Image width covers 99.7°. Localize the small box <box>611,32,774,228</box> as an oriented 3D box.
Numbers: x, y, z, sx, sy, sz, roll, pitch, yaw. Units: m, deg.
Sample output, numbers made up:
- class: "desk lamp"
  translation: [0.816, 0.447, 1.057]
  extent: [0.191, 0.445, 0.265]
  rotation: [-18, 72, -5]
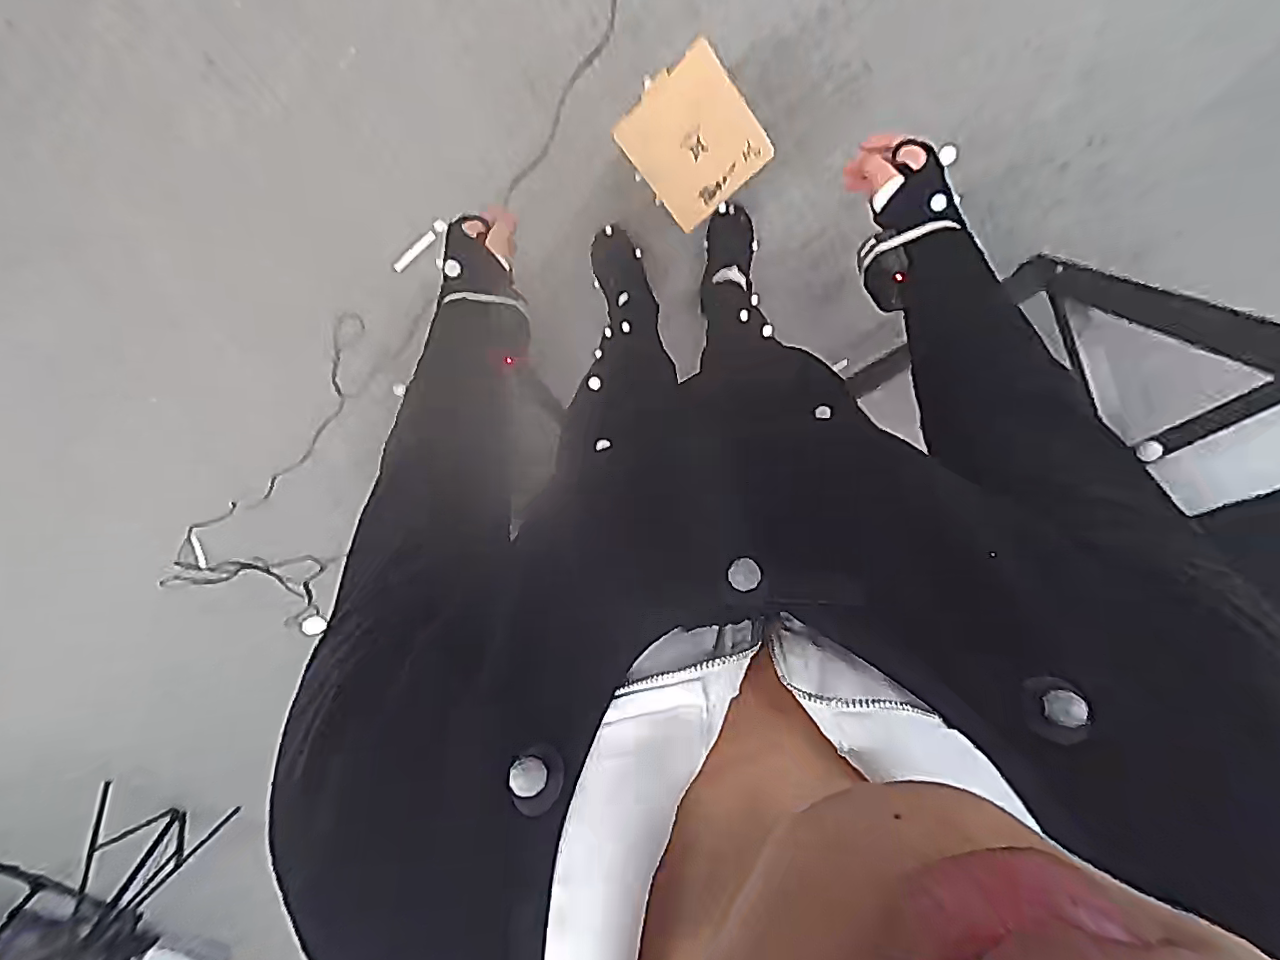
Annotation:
- class: "small box"
  translation: [0.074, -0.519, 0.823]
  extent: [0.168, 0.176, 0.179]
  rotation: [-36, 115, 20]
